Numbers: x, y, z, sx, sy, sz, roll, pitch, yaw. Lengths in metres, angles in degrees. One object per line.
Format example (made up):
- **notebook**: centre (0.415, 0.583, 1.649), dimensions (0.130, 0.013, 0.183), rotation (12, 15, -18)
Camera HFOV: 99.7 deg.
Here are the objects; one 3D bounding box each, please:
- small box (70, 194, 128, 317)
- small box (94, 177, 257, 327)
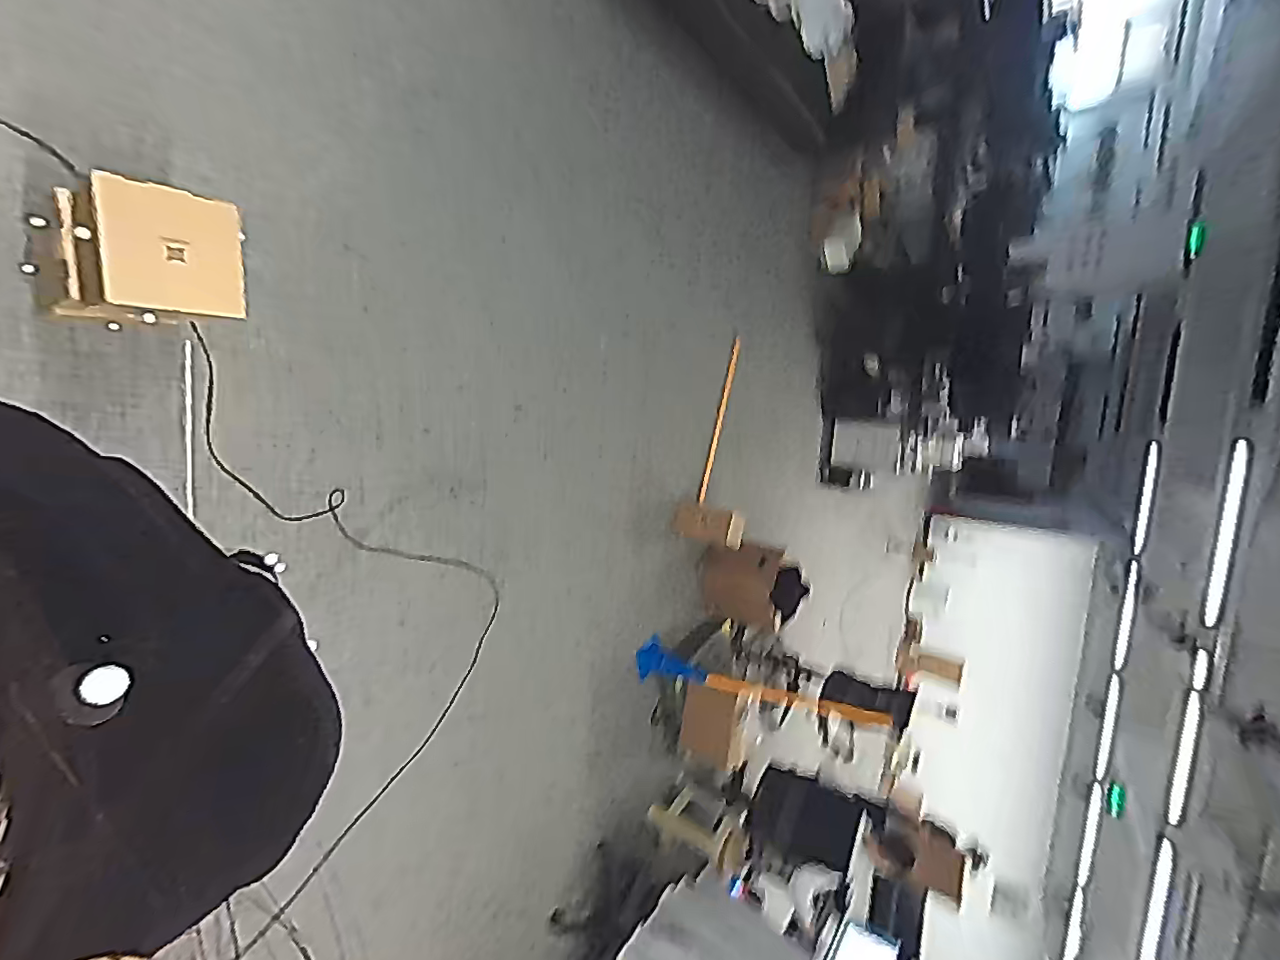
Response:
- **small box**: centre (-0.868, -0.375, 0.953), dimensions (0.179, 0.176, 0.168), rotation (-9, 104, -52)
- **small box**: centre (-0.737, -0.344, 0.861), dimensions (0.168, 0.176, 0.179), rotation (-8, 102, -51)
